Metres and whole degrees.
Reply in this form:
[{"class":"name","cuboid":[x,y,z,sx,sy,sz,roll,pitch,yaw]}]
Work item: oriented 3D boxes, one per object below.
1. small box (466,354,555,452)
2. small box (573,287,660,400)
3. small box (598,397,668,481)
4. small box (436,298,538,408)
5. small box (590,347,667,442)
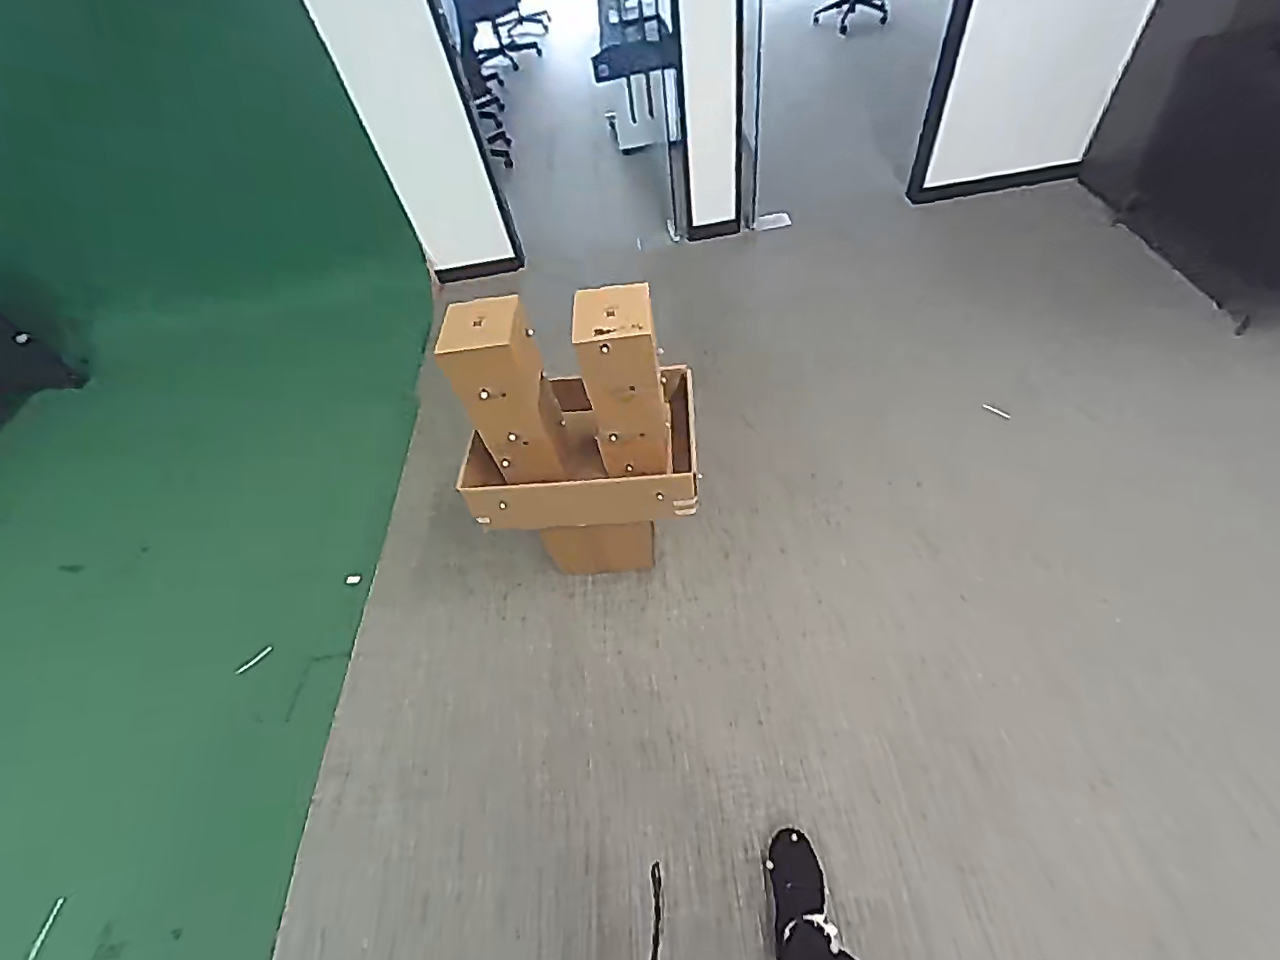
[{"class":"small box","cuboid":[-0.319,-0.193,1.372,0.168,0.176,0.179,-6,52,6]},{"class":"small box","cuboid":[-0.047,-0.301,1.205,0.168,0.176,0.179,-6,53,5]},{"class":"small box","cuboid":[-0.012,-0.114,1.472,0.168,0.176,0.179,-2,53,7]},{"class":"small box","cuboid":[-0.339,-0.289,1.242,0.168,0.176,0.179,-5,52,6]},{"class":"small box","cuboid":[-0.026,-0.208,1.338,0.168,0.176,0.179,-6,53,5]}]
